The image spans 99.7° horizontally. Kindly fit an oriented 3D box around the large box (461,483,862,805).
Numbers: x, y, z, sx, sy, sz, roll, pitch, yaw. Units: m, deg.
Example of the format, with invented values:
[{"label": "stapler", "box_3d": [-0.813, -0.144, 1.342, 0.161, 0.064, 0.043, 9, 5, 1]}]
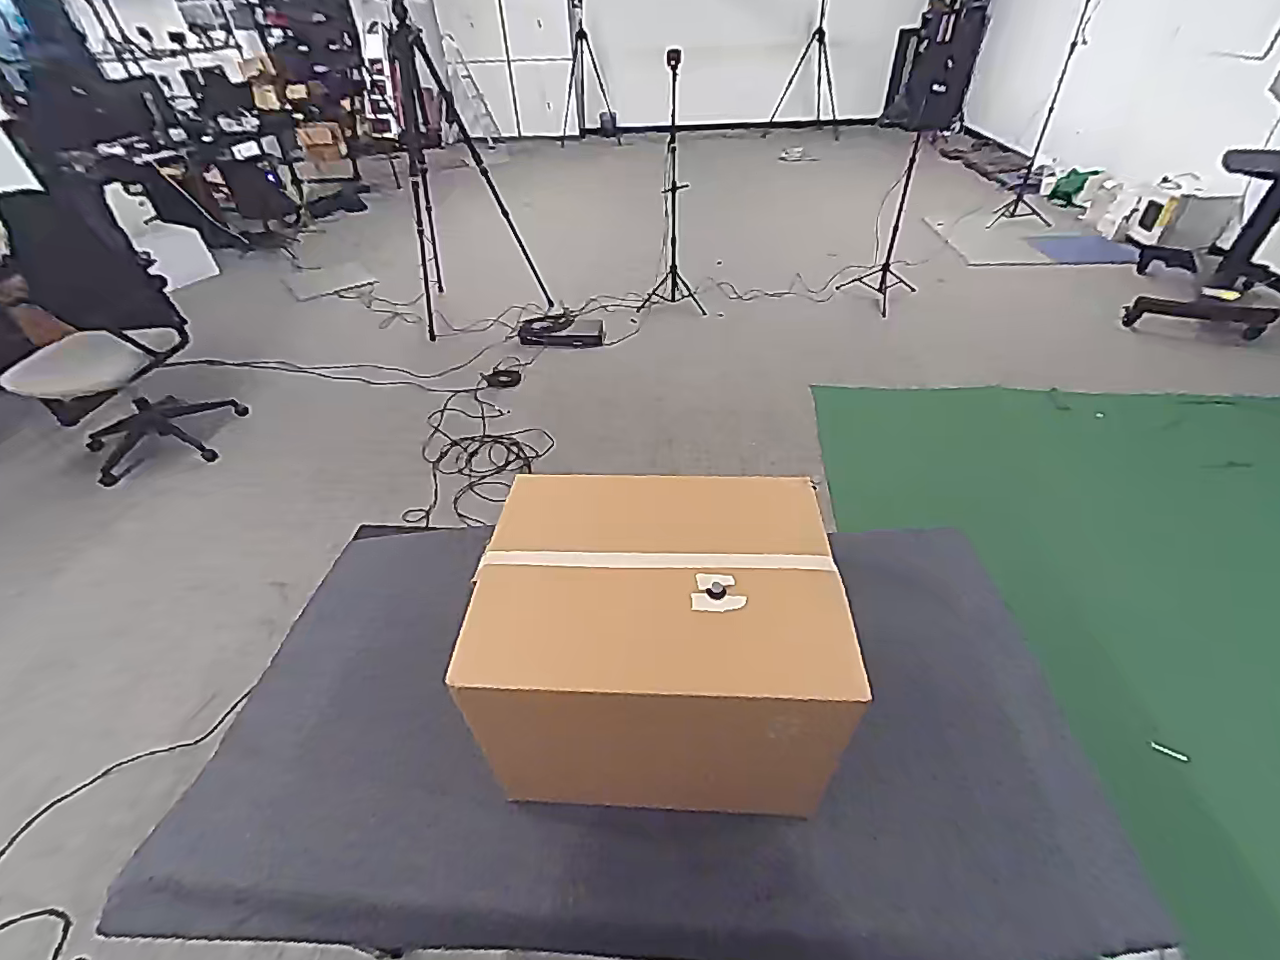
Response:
[{"label": "large box", "box_3d": [0.026, 0.216, 0.735, 0.408, 0.320, 0.320, 1, 42, 3]}]
